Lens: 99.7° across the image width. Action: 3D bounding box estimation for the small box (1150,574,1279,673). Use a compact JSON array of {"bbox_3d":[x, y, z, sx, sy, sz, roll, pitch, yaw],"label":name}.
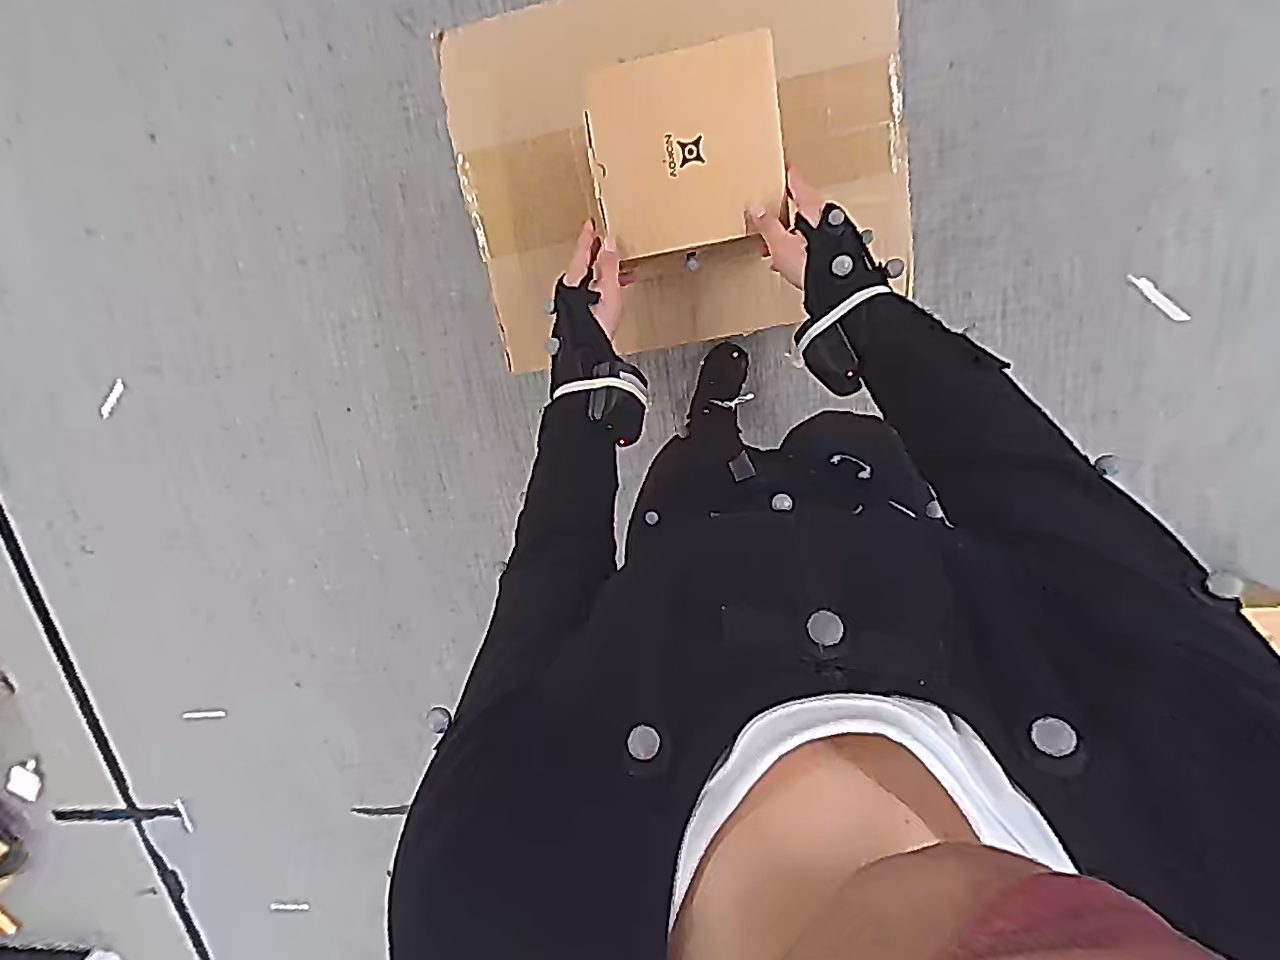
[{"bbox_3d":[1.355,0.328,1.267,0.168,0.176,0.179,-3,103,7],"label":"small box"}]
